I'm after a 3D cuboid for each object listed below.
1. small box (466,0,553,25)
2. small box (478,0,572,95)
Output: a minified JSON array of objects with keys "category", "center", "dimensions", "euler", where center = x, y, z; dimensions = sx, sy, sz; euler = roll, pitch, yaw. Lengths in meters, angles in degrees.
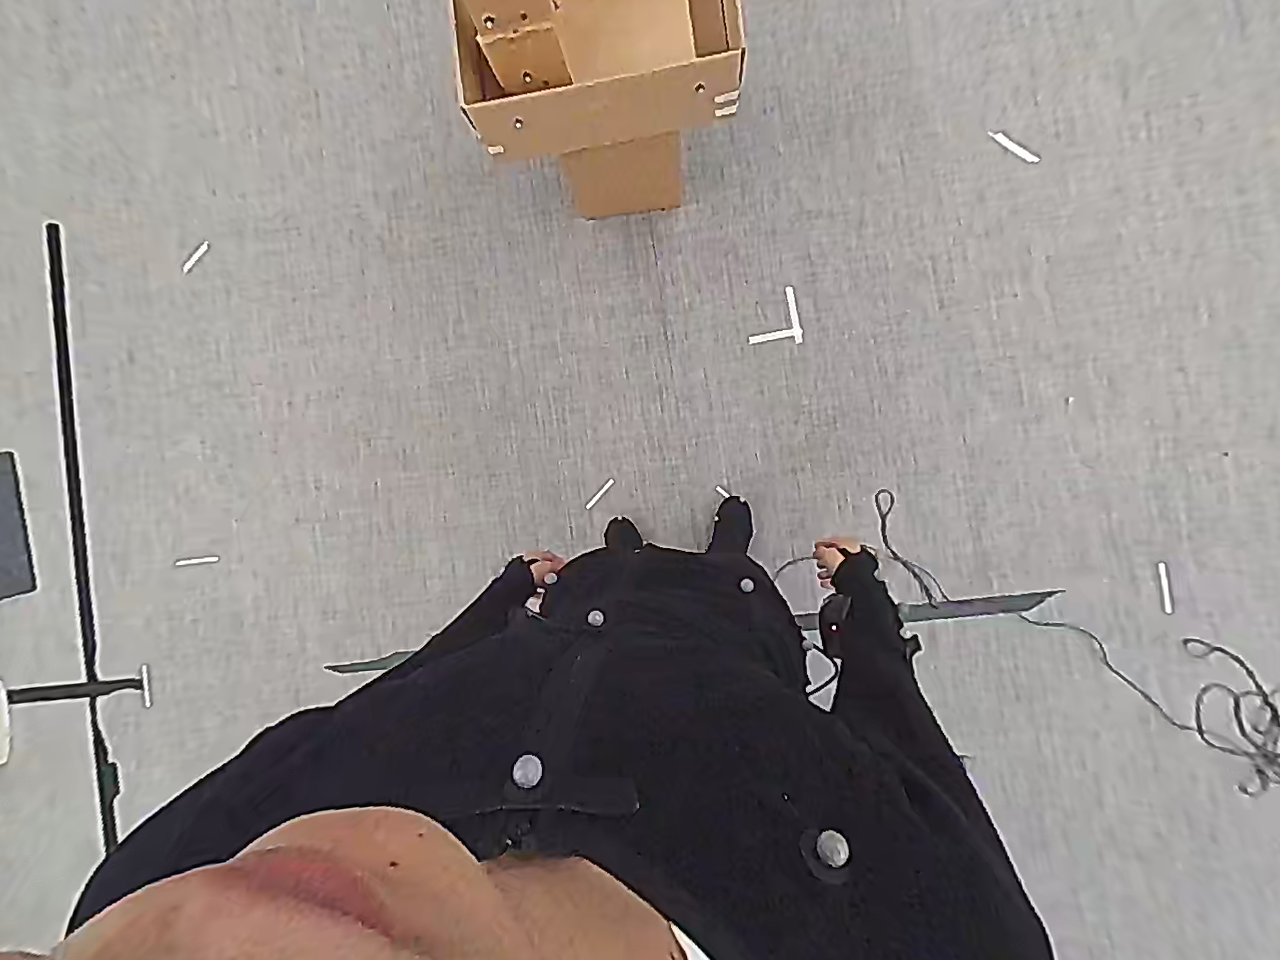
[{"category":"small box","center":[-0.276,-1.032,1.043],"dimensions":[0.168,0.176,0.179],"euler":[-8,87,7]},{"category":"small box","center":[-0.257,-1.014,1.206],"dimensions":[0.168,0.176,0.179],"euler":[-9,88,7]}]
